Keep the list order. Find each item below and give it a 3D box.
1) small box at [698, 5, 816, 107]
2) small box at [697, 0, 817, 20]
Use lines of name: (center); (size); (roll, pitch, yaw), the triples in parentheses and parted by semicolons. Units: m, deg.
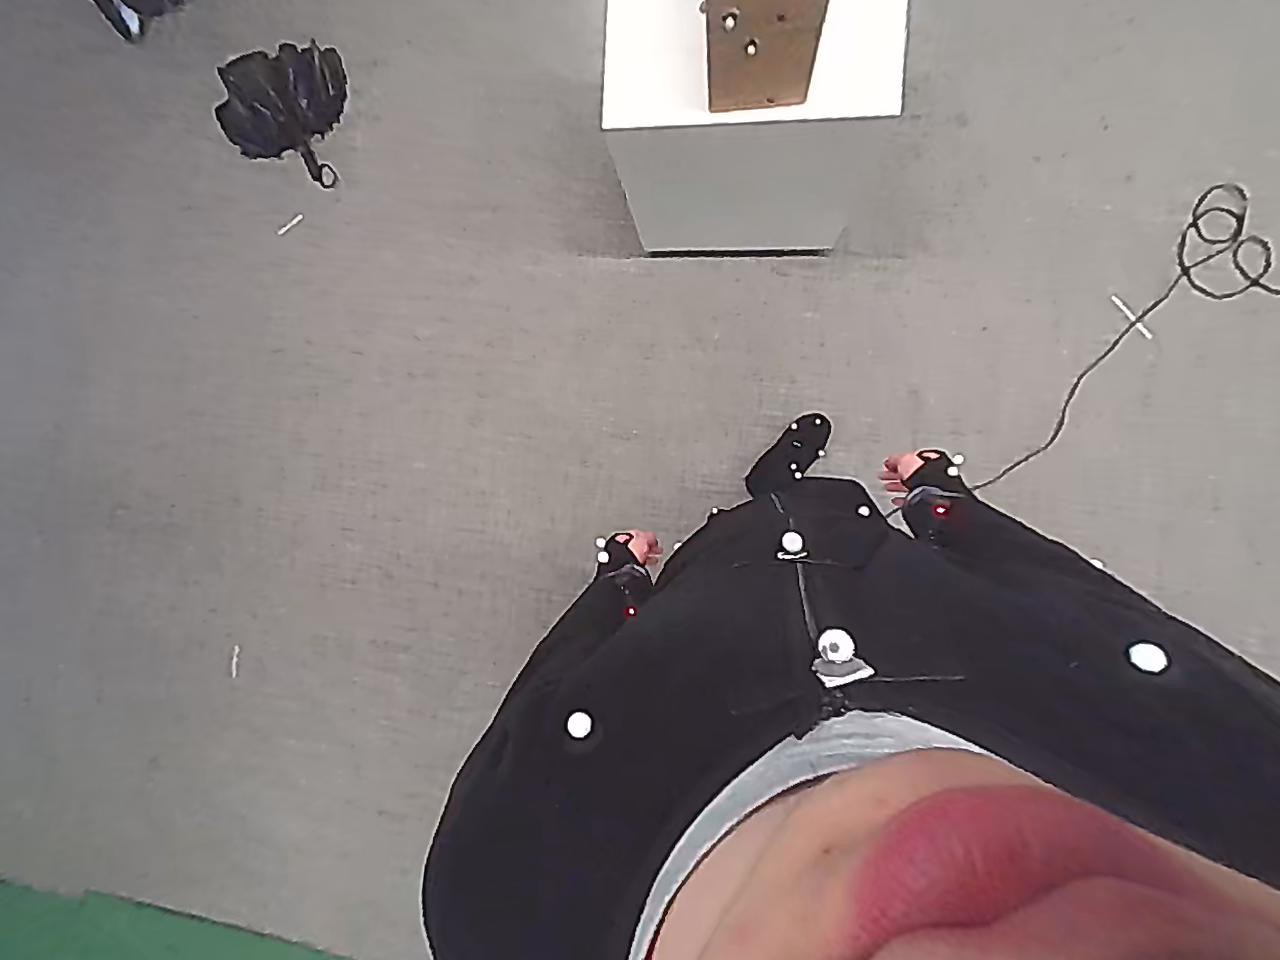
small box: (0.175, -0.728, 0.842); (0.168, 0.176, 0.179); (-1, 90, 8)
small box: (0.152, -0.726, 0.678); (0.168, 0.176, 0.179); (0, 90, 8)
